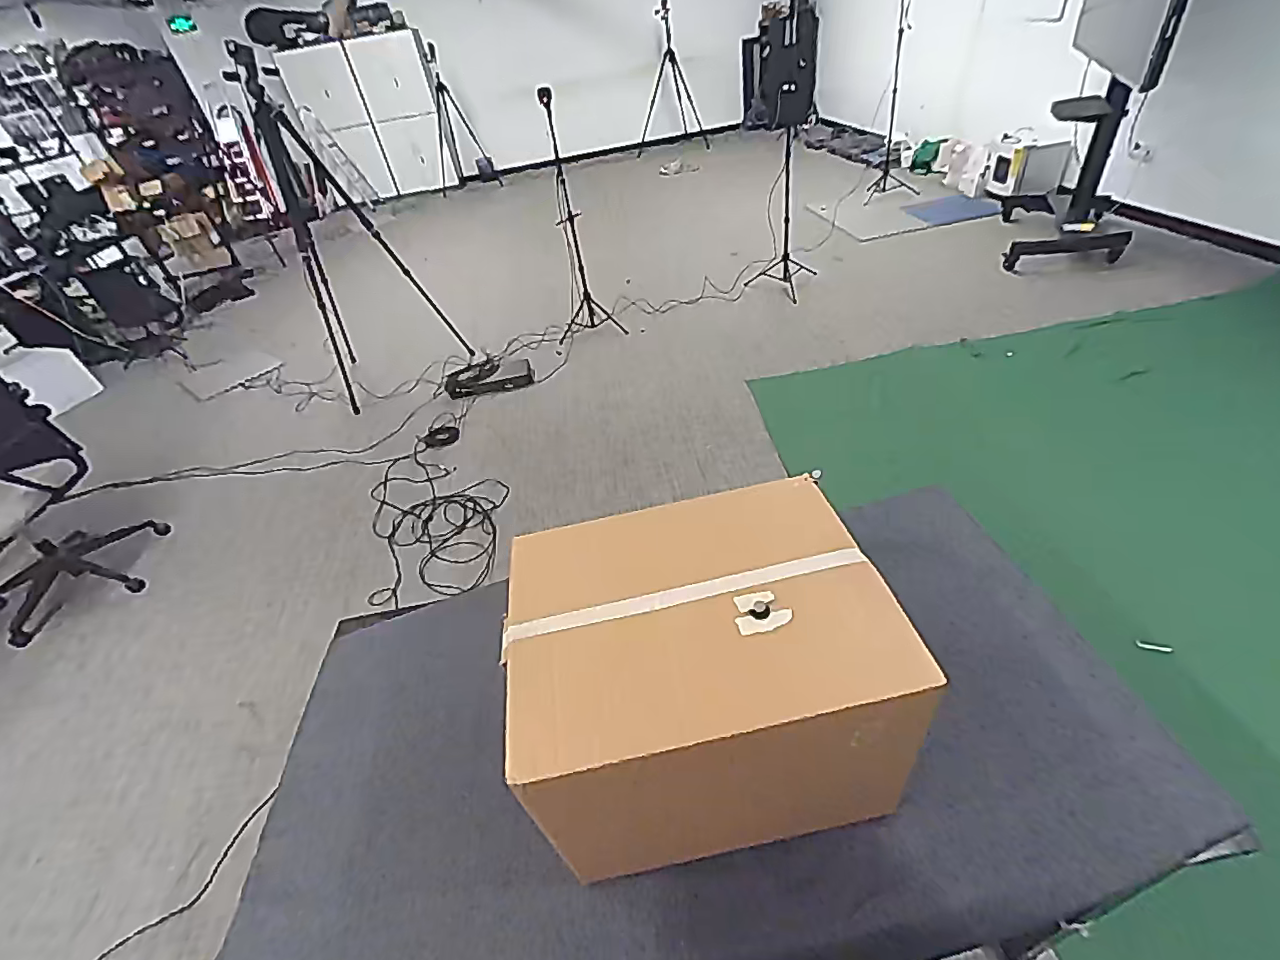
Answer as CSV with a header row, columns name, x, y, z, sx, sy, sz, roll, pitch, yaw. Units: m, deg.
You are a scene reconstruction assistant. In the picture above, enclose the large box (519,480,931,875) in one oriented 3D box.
name,x,y,z,sx,sy,sz,roll,pitch,yaw
large box,0.077,0.247,0.705,0.408,0.320,0.320,-12,40,-2
